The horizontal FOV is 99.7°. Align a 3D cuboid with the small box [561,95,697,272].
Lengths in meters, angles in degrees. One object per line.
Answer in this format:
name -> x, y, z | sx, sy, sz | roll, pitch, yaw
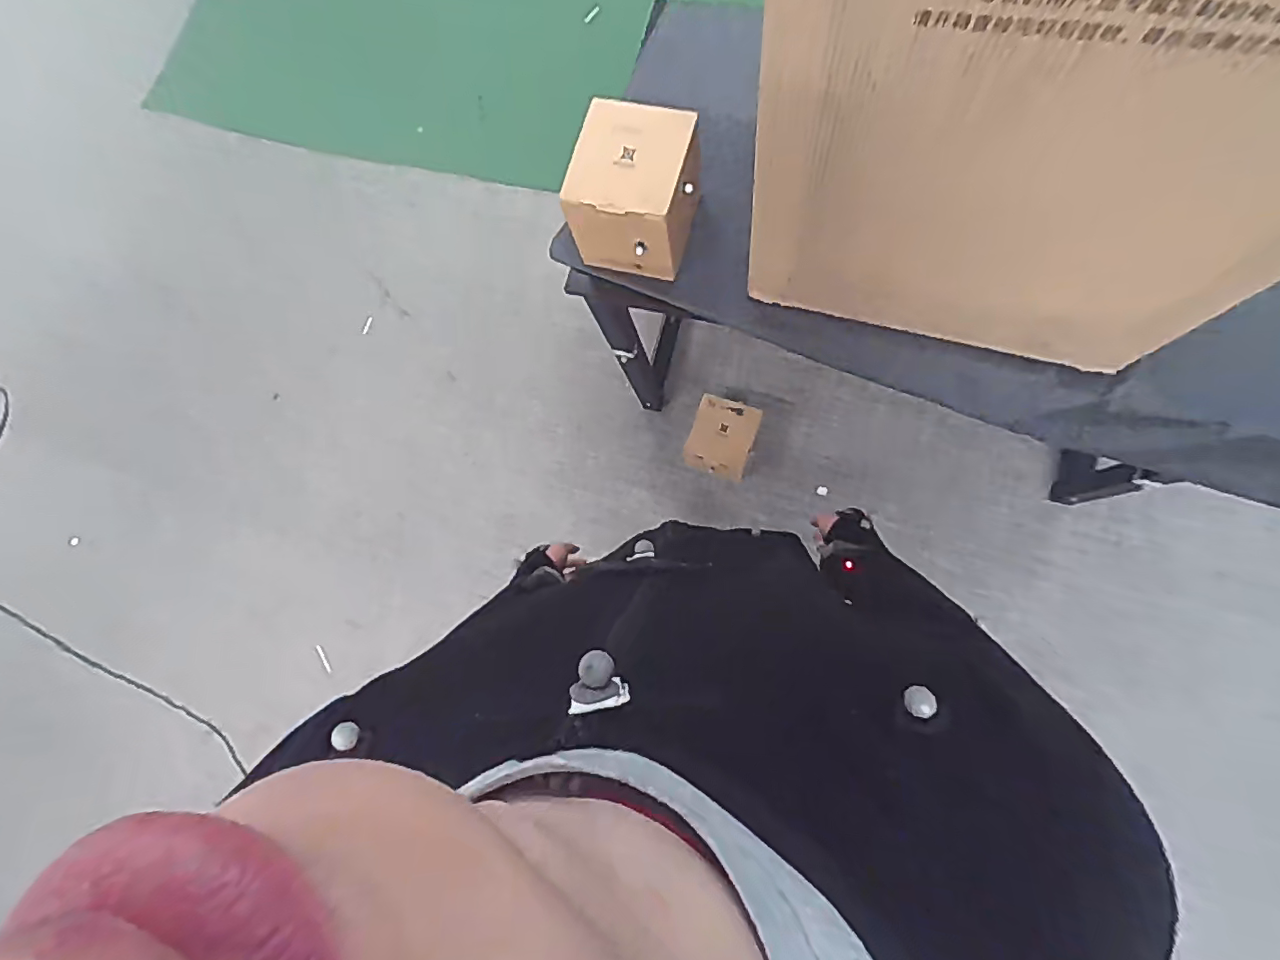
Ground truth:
small box -> -0.006, -0.461, 0.863 | 0.168, 0.176, 0.179 | 14, 80, 9
